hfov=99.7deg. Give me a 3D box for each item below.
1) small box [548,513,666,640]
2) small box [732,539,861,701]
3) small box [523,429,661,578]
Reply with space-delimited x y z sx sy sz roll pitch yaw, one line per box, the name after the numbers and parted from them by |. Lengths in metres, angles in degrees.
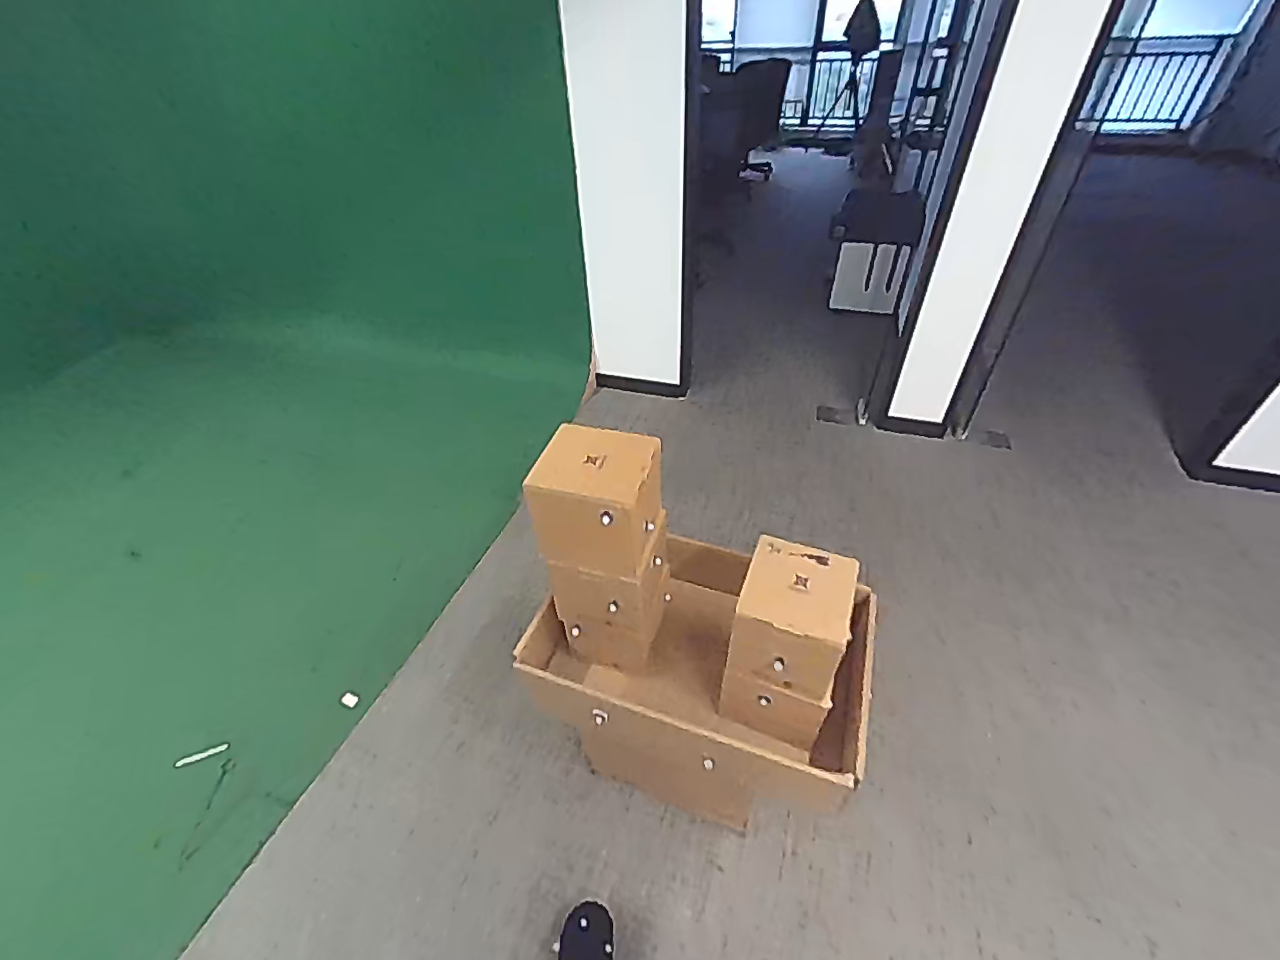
-0.049 0.165 0.993 0.168 0.176 0.179 10 42 14 | small box
0.254 0.233 0.896 0.168 0.176 0.179 15 44 18 | small box
-0.068 0.039 0.891 0.179 0.176 0.168 10 42 12 | small box
